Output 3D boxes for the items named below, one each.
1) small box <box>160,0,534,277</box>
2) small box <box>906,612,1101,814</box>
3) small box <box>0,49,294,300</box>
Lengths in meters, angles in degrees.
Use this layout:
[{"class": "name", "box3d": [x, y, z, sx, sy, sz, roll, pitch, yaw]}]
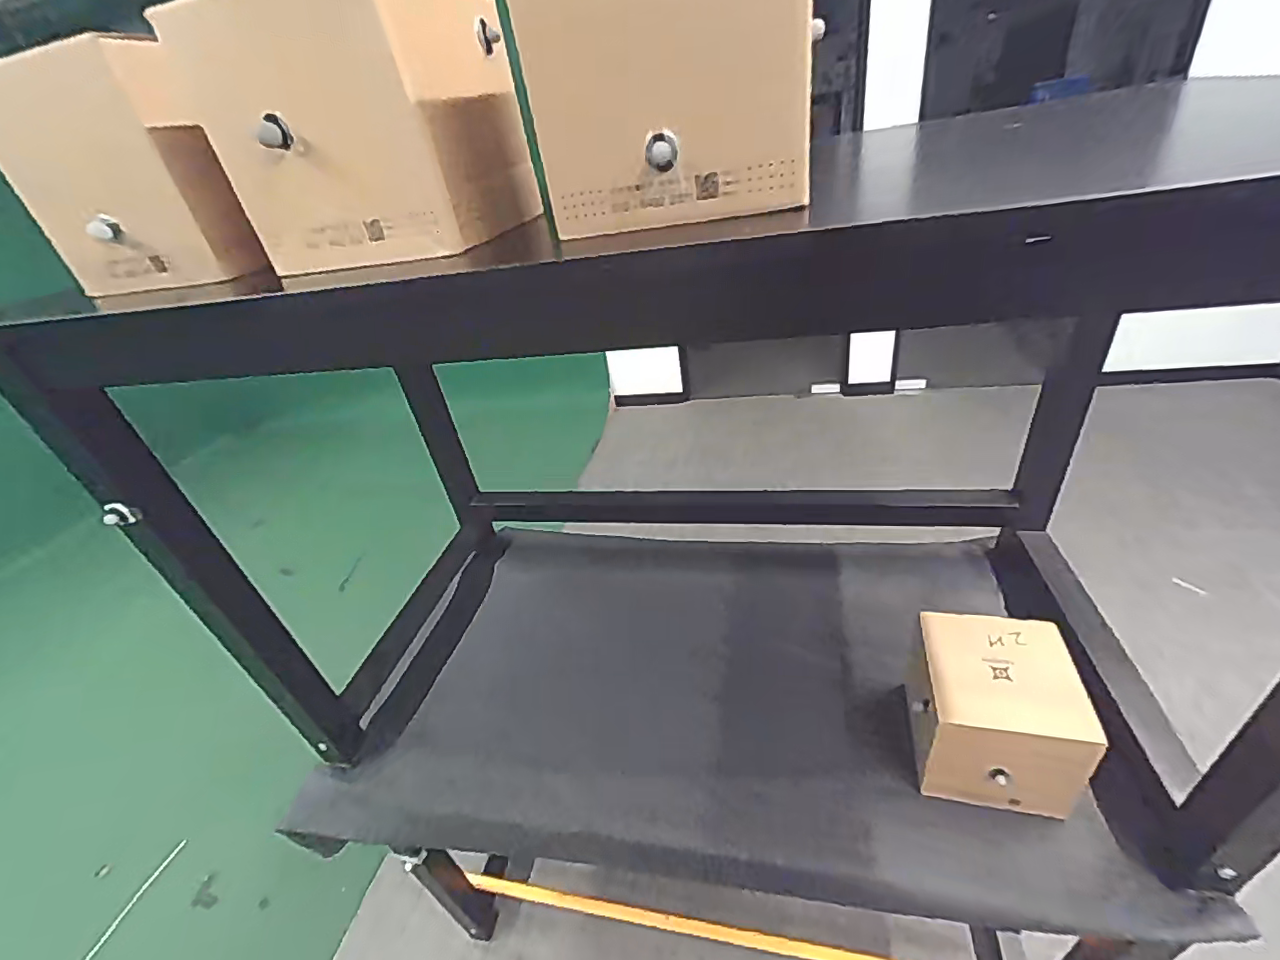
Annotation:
[{"class": "small box", "box3d": [-0.204, -0.271, 0.438, 0.168, 0.176, 0.179, 0, 34, 16]}, {"class": "small box", "box3d": [0.458, 0.303, 0.715, 0.168, 0.176, 0.179, 2, 34, 18]}, {"class": "small box", "box3d": [-0.419, -0.279, 0.507, 0.168, 0.176, 0.179, 0, 35, 15]}]
